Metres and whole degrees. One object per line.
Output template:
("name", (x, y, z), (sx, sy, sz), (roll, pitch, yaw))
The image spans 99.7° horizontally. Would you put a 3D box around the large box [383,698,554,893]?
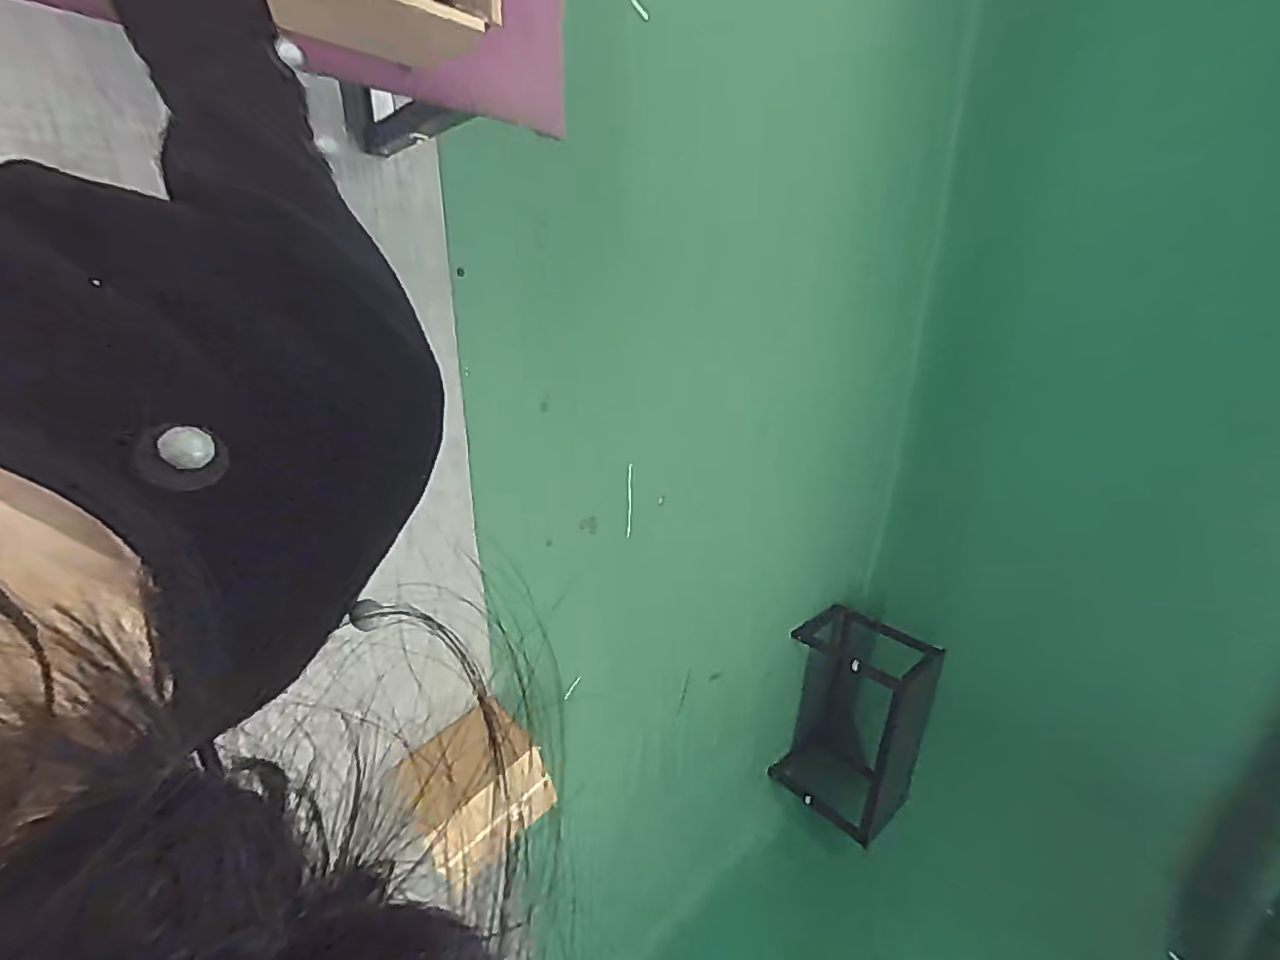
("large box", (-0.571, 1.040, 1.825), (0.408, 0.320, 0.320), (-32, 126, -33))
